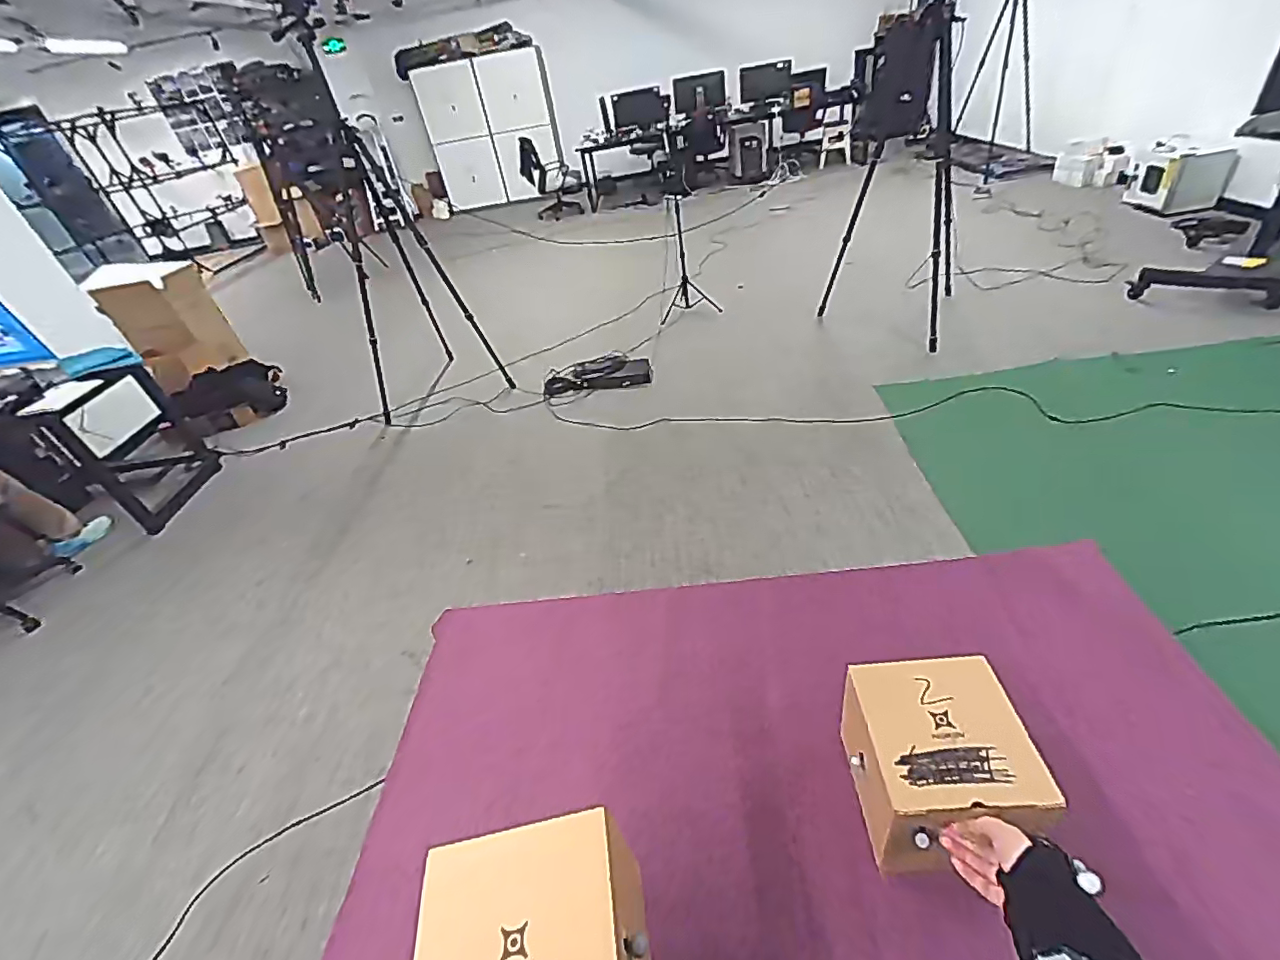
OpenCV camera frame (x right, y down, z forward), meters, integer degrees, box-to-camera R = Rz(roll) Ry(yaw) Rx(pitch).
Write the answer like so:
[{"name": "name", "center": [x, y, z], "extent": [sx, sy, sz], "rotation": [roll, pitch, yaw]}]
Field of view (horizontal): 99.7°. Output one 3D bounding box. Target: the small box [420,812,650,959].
[{"name": "small box", "center": [-0.084, 0.438, 0.483], "extent": [0.168, 0.176, 0.179], "rotation": [-14, 39, 0]}]
